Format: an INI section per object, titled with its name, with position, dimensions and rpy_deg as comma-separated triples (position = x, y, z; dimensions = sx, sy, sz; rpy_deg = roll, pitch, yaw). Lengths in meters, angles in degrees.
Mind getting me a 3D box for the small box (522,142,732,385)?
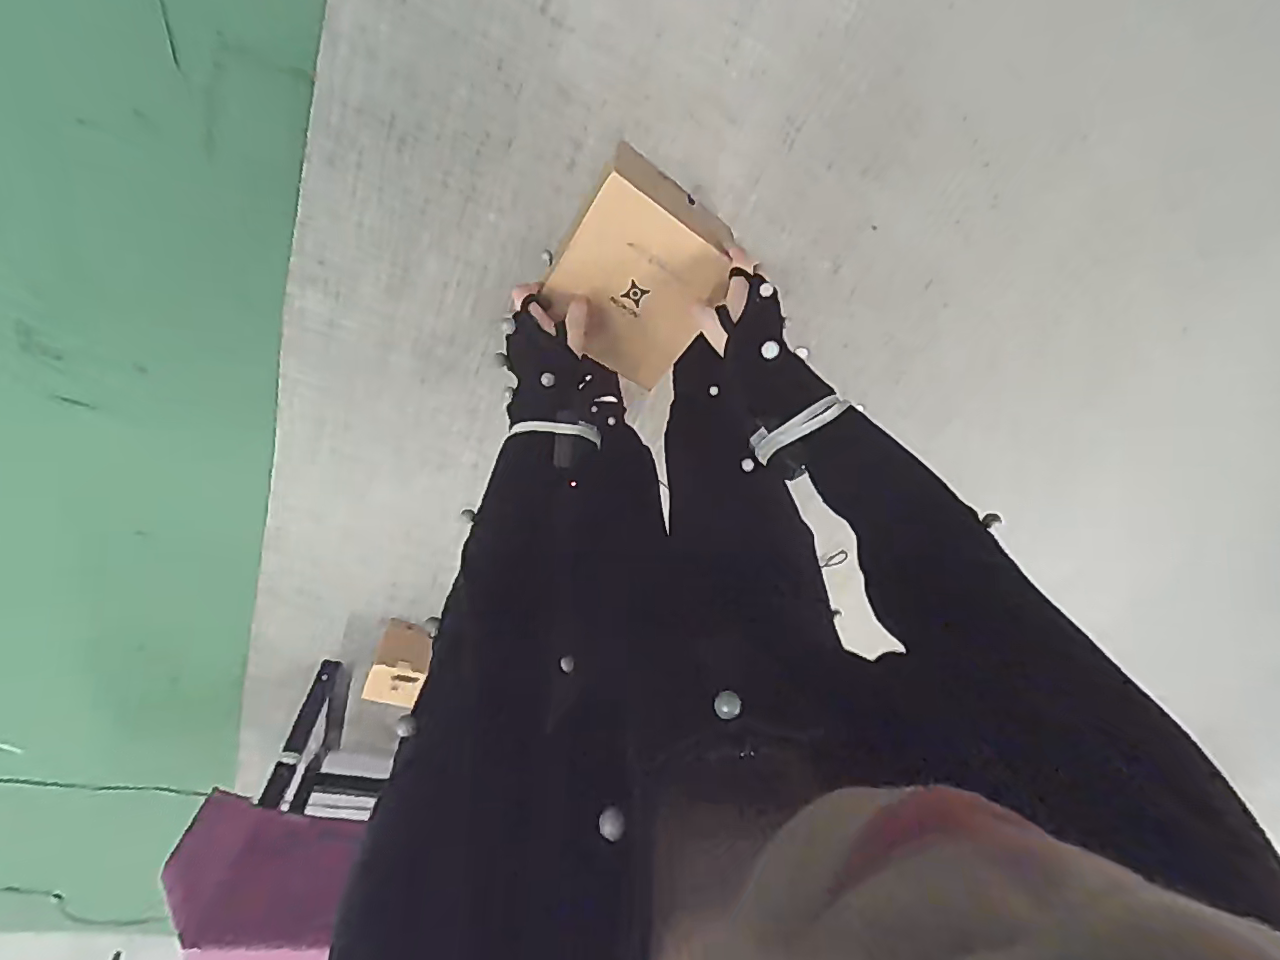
[small box]
position = -0.014, -0.253, 0.636
dimensions = 0.168, 0.176, 0.179
rpy_deg = 28, 126, -22
